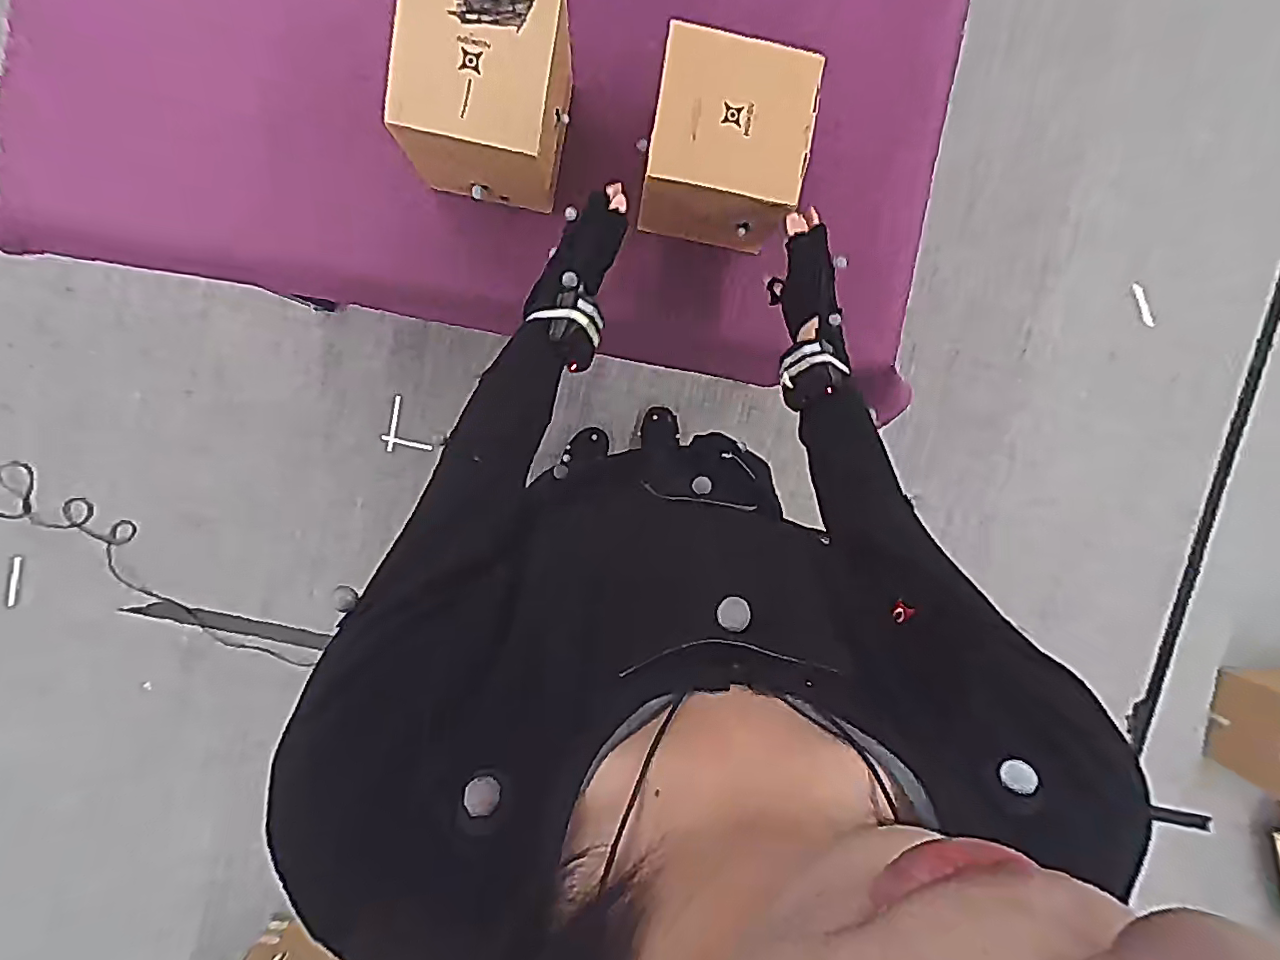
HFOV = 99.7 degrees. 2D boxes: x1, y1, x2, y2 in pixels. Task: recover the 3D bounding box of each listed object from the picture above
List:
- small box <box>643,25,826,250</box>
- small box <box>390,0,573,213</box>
[{"bbox_3d":[0.104,-0.405,0.674,0.179,0.176,0.168,8,93,-3],"label":"small box"},{"bbox_3d":[-0.175,-0.454,0.648,0.168,0.176,0.179,10,96,-5],"label":"small box"}]
